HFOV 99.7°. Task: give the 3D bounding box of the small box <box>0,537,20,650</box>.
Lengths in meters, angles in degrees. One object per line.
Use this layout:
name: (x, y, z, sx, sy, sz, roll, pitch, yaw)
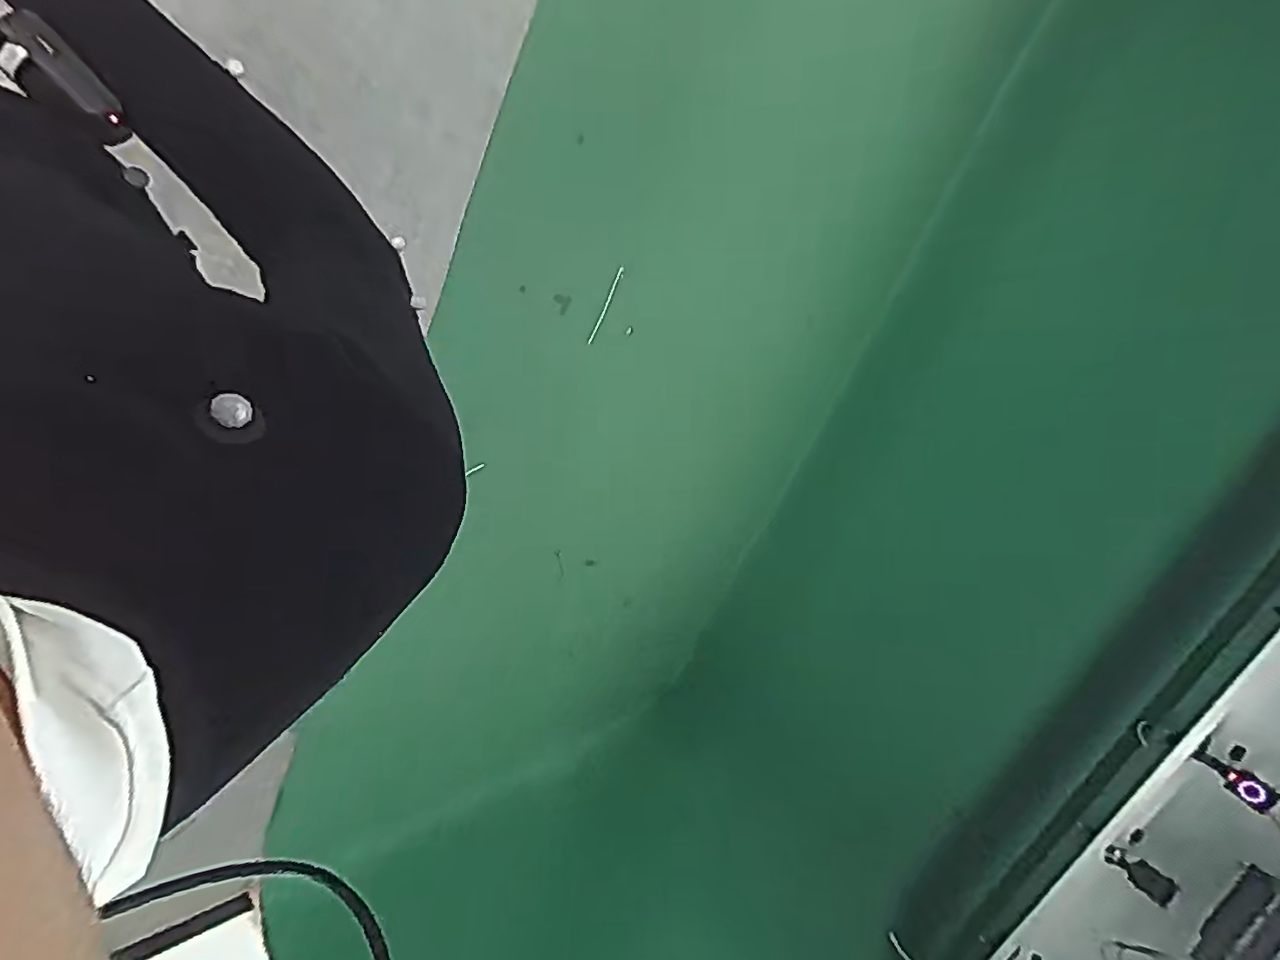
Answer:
small box: (-1.315, 0.216, 1.015, 0.179, 0.176, 0.168, 9, 112, -54)
